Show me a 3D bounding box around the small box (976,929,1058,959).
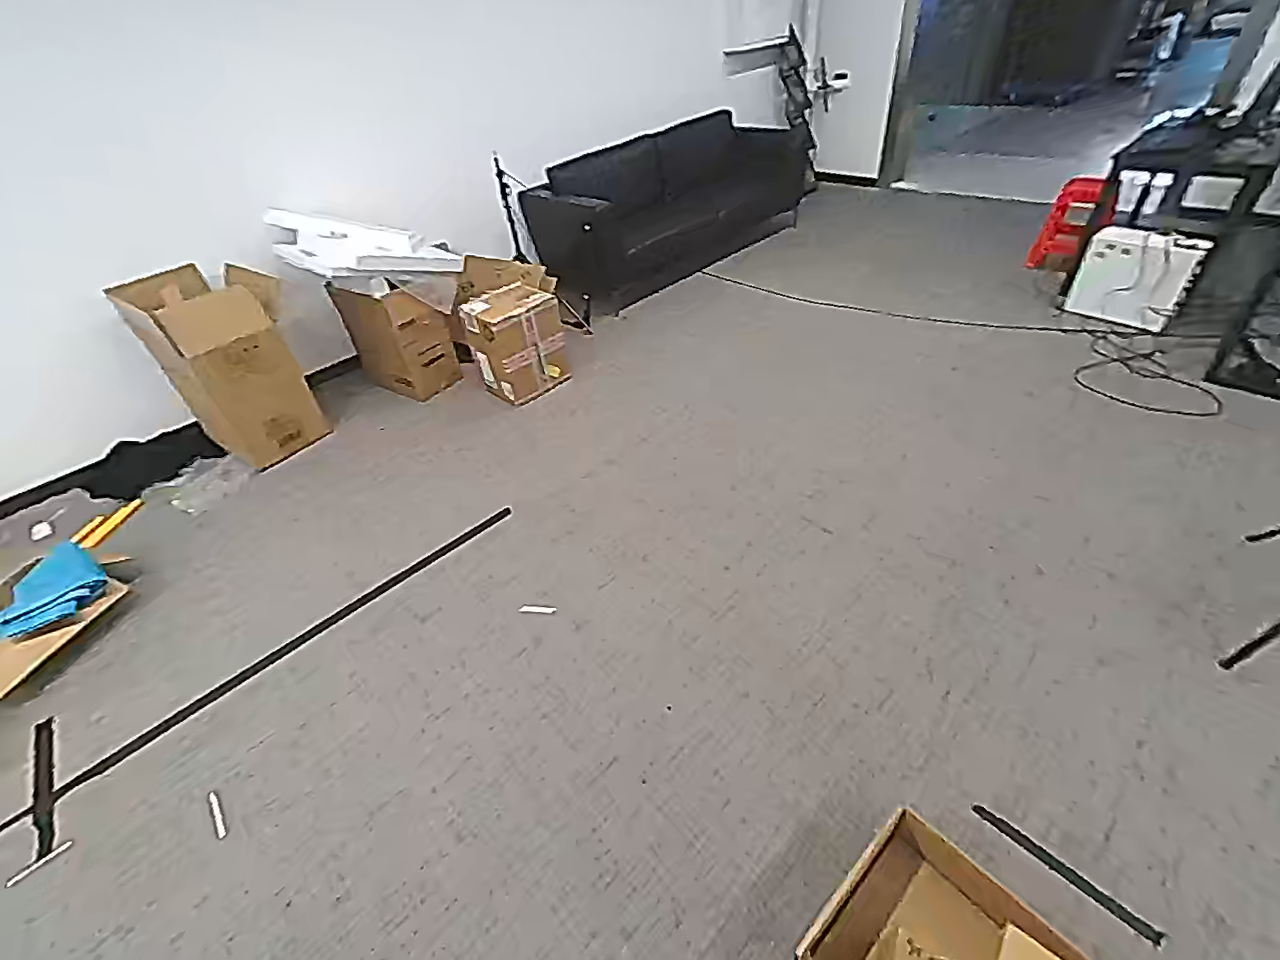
[{"bbox_3d":[0.614,0.850,0.826,0.179,0.176,0.168,25,49,34],"label":"small box"}]
